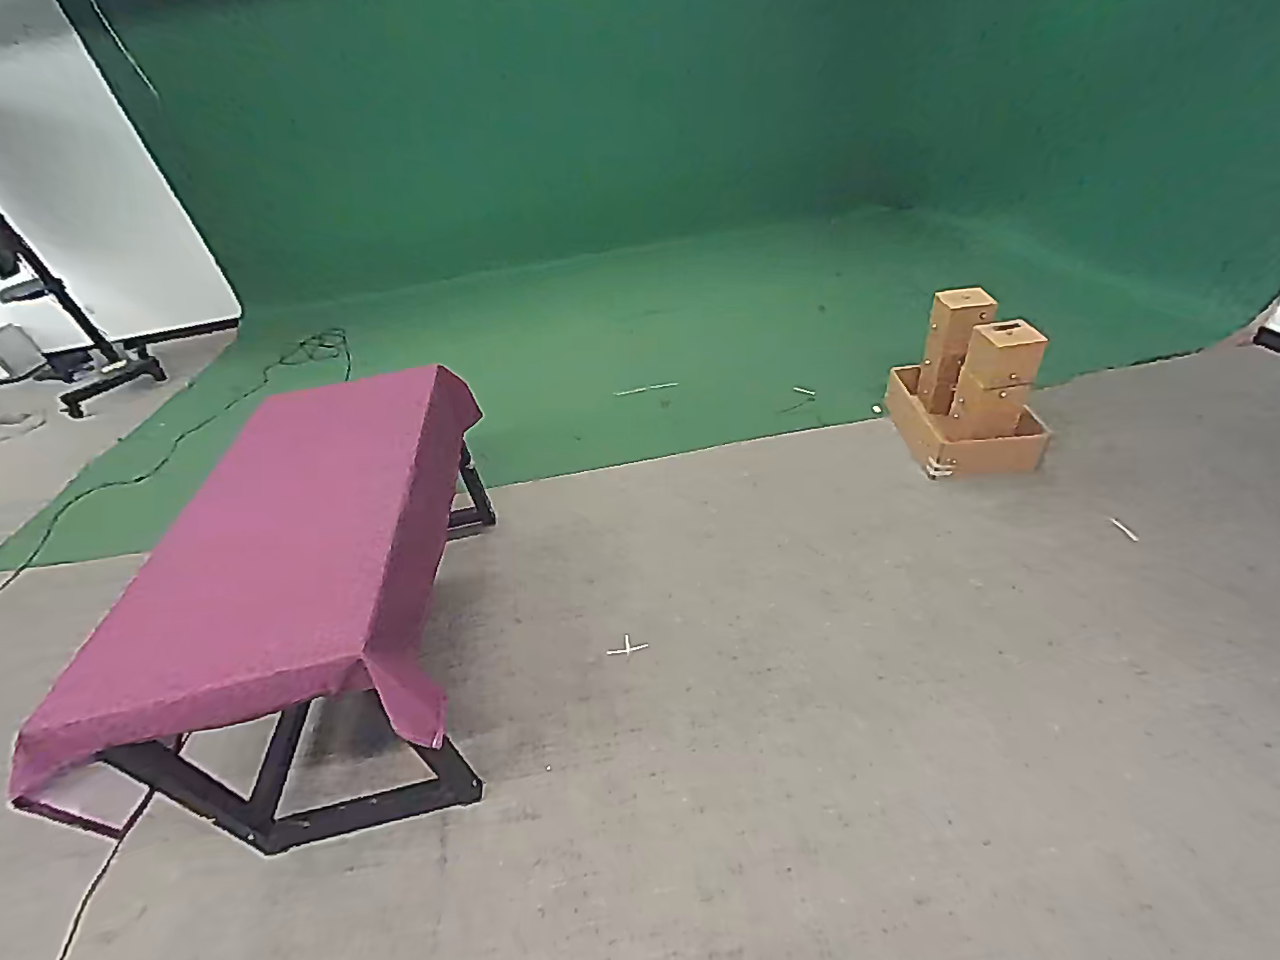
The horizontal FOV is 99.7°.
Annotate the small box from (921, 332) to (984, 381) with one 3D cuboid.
[{"bbox_3d":[1.336,-0.543,2.322,0.179,0.176,0.168,-4,40,9],"label":"small box"}]

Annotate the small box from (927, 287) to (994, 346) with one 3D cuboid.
[{"bbox_3d":[1.309,-0.670,2.221,0.179,0.176,0.168,-5,40,8],"label":"small box"}]

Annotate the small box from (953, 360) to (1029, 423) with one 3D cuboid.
[{"bbox_3d":[1.334,-0.337,2.071,0.179,0.176,0.168,-7,38,6],"label":"small box"}]
